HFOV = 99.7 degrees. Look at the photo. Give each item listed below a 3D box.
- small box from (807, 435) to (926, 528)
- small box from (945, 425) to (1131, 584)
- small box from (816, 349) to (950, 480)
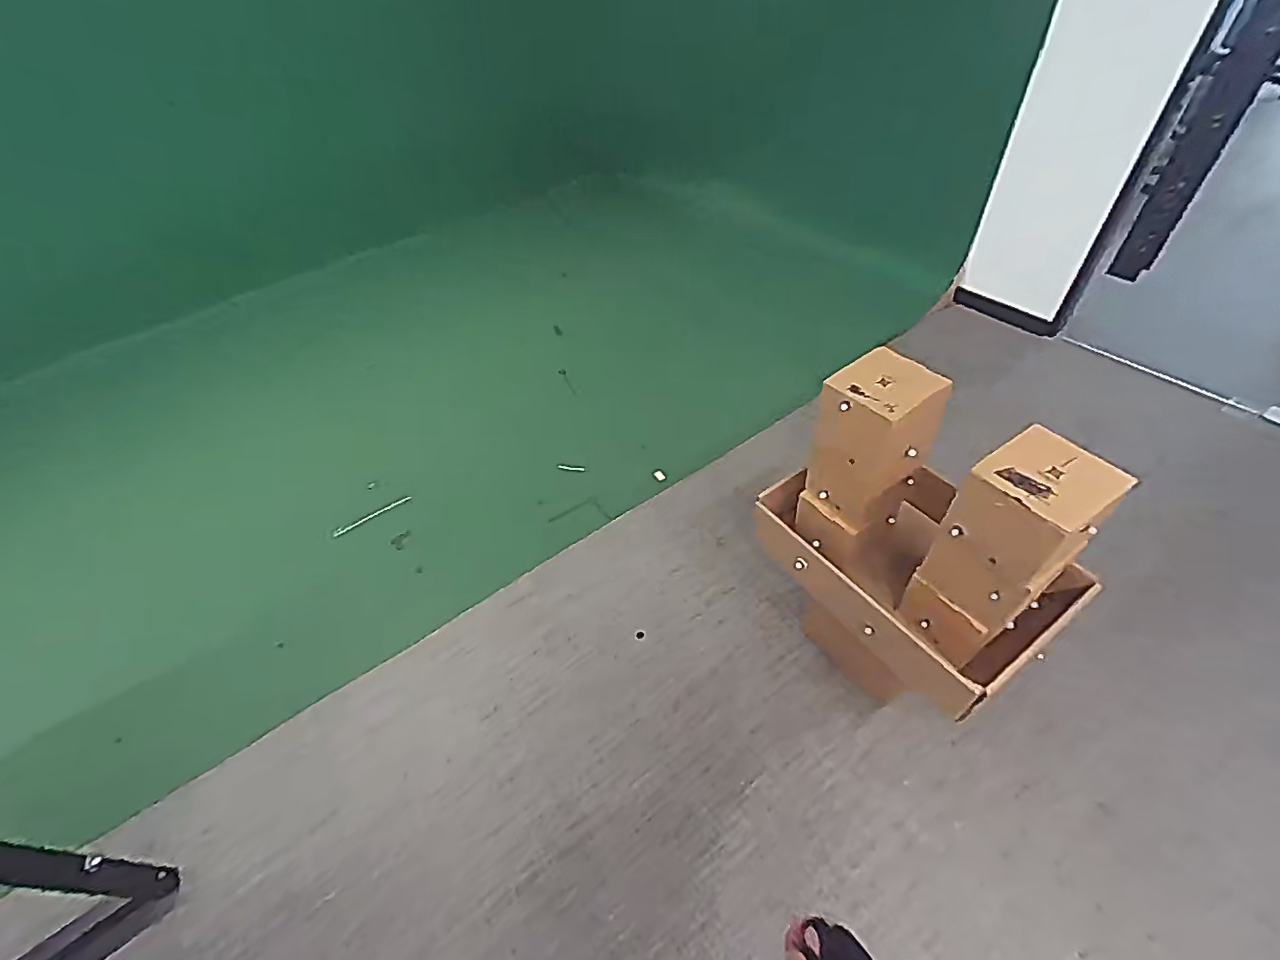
[{"bbox_3d":[0.501,-0.026,1.224,0.179,0.176,0.168,-28,50,-16],"label":"small box"},{"bbox_3d":[0.654,0.044,0.917,0.179,0.176,0.168,-28,52,-17],"label":"small box"},{"bbox_3d":[0.482,-0.134,1.103,0.179,0.176,0.168,-30,50,-20],"label":"small box"}]
